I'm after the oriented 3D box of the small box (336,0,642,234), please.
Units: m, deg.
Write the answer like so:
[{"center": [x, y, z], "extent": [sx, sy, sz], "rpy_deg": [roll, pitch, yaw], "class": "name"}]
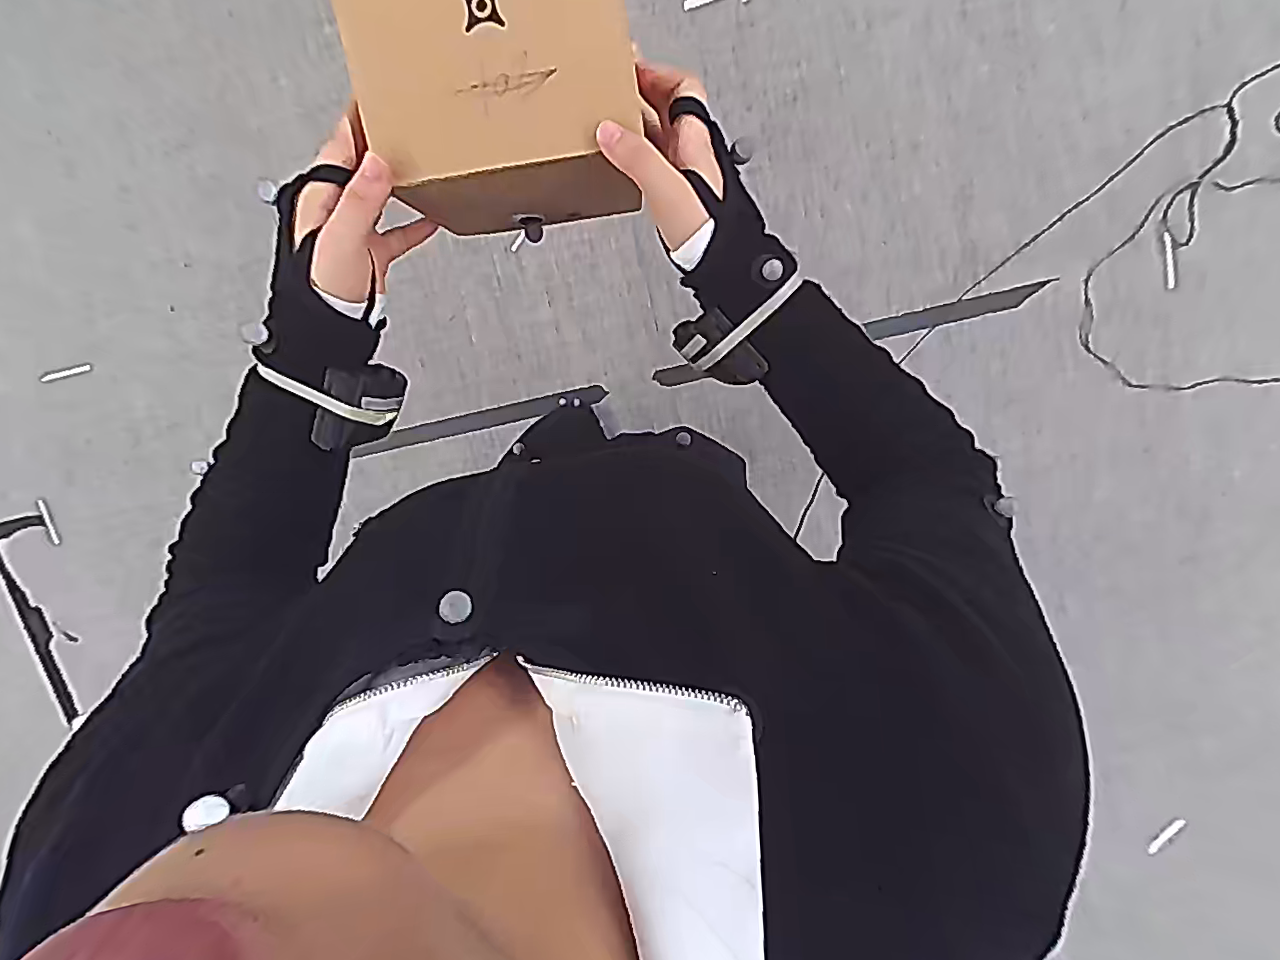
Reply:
[{"center": [-0.092, -0.295, 0.386], "extent": [0.168, 0.176, 0.179], "rpy_deg": [-8, 104, 2], "class": "small box"}]
